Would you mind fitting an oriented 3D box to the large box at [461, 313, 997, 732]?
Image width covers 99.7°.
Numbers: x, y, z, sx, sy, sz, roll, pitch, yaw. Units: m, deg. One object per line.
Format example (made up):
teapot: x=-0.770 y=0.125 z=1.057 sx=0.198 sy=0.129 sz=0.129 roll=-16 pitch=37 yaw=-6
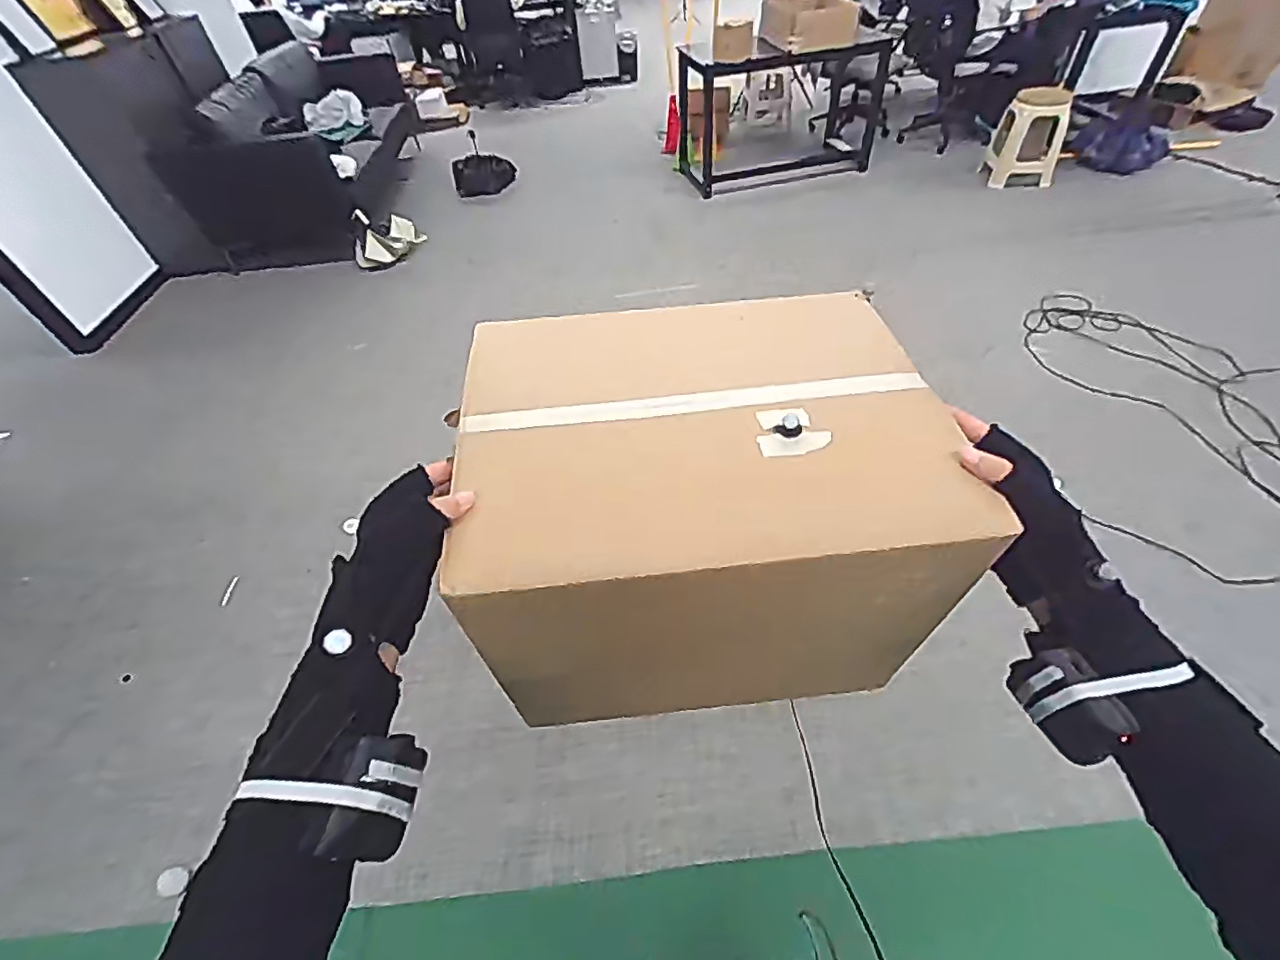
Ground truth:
large box: x=0.053 y=0.048 z=0.593 sx=0.408 sy=0.320 sz=0.320 roll=-6 pitch=50 yaw=-4
